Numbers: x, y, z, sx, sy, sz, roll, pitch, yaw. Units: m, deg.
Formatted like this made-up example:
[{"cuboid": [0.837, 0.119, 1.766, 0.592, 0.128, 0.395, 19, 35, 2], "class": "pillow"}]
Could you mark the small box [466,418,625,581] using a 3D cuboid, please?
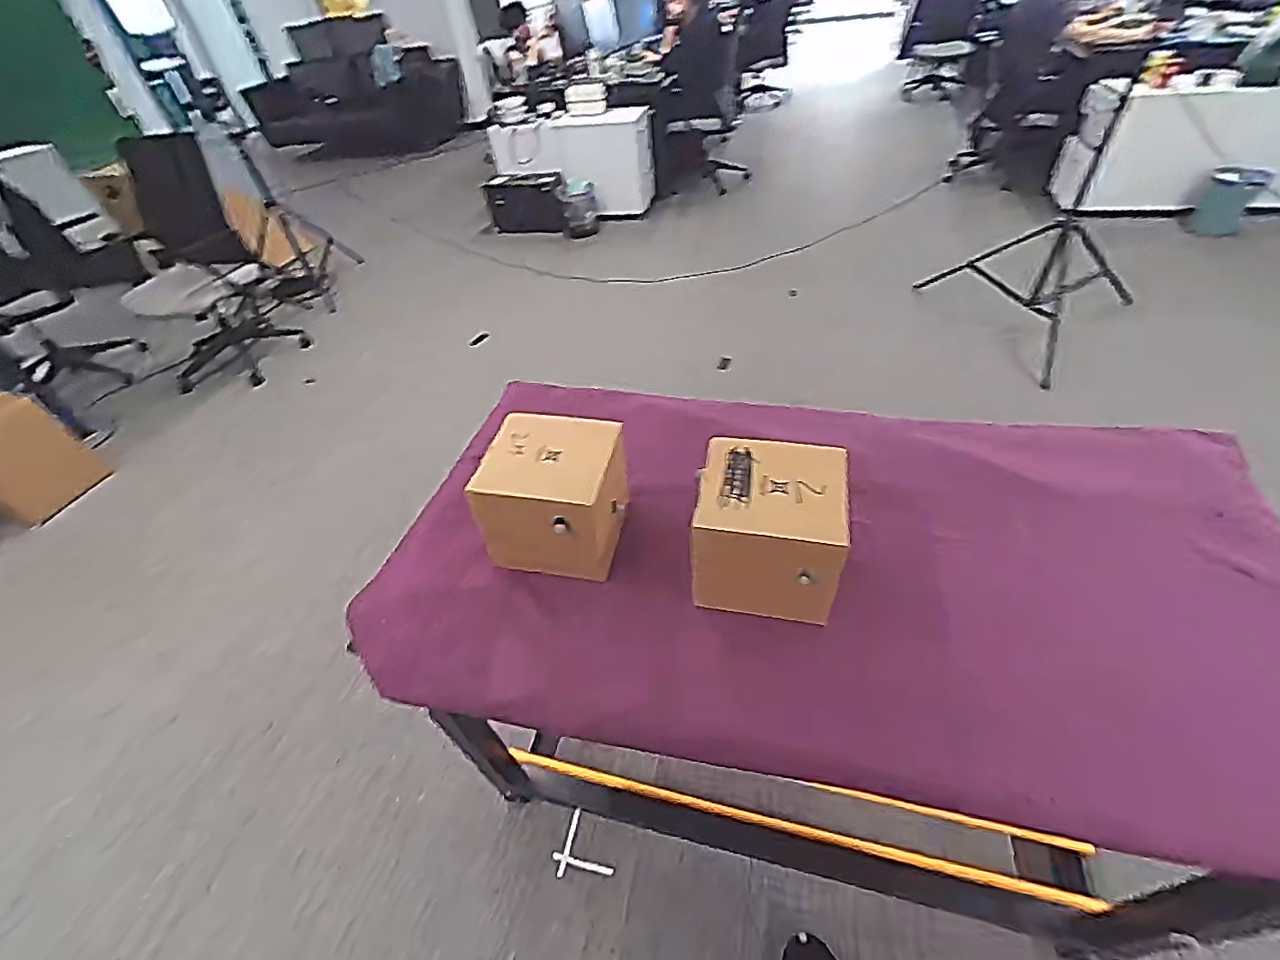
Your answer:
[{"cuboid": [-0.124, 0.031, 0.802, 0.179, 0.176, 0.168, 6, 45, 10], "class": "small box"}]
